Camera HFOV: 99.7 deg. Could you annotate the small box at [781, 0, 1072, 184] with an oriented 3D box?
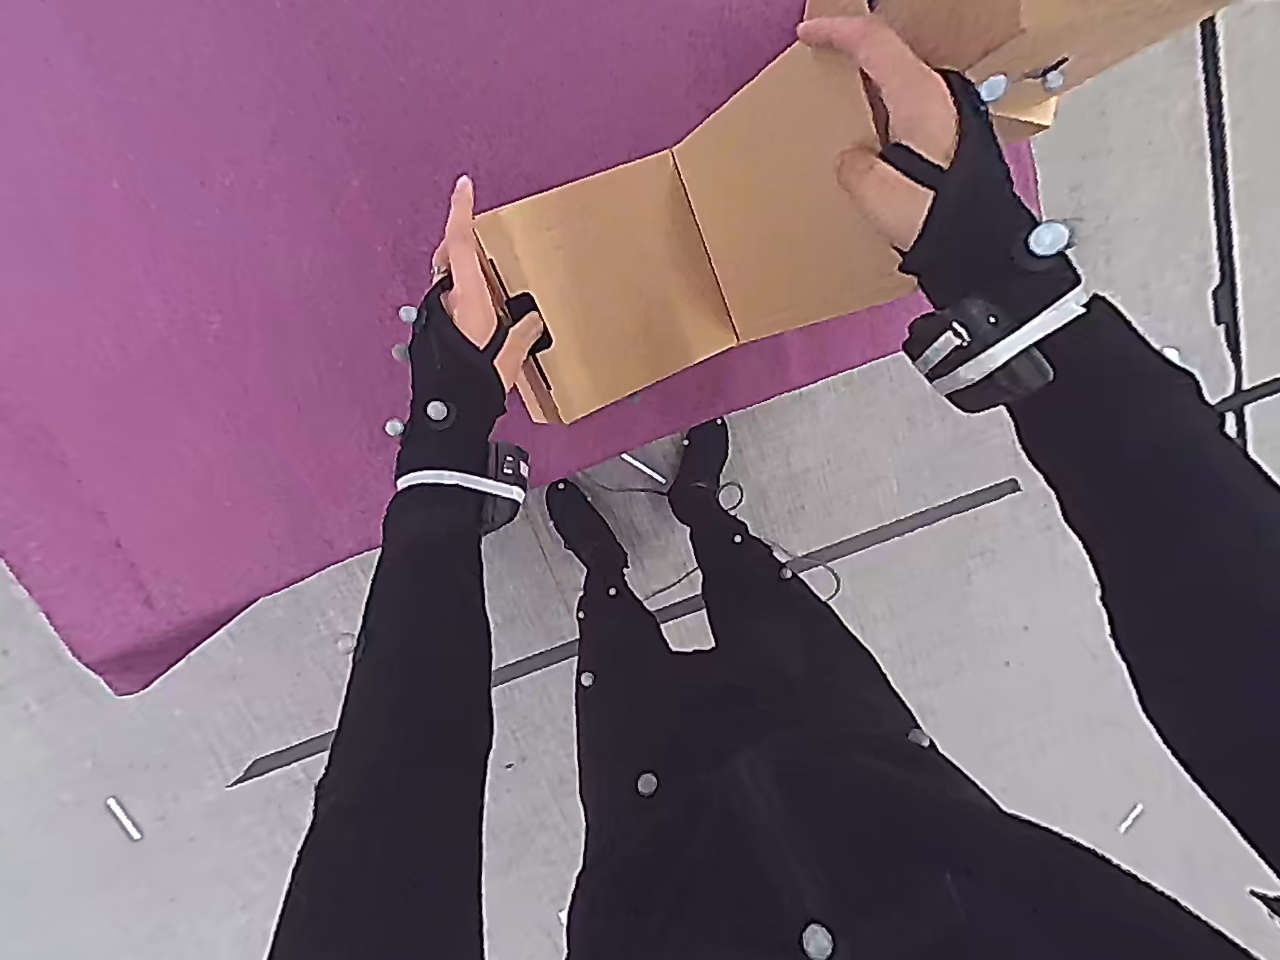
[{"bbox_3d":[0.256,-0.399,0.509,0.179,0.176,0.168,4,102,-8],"label":"small box"}]
